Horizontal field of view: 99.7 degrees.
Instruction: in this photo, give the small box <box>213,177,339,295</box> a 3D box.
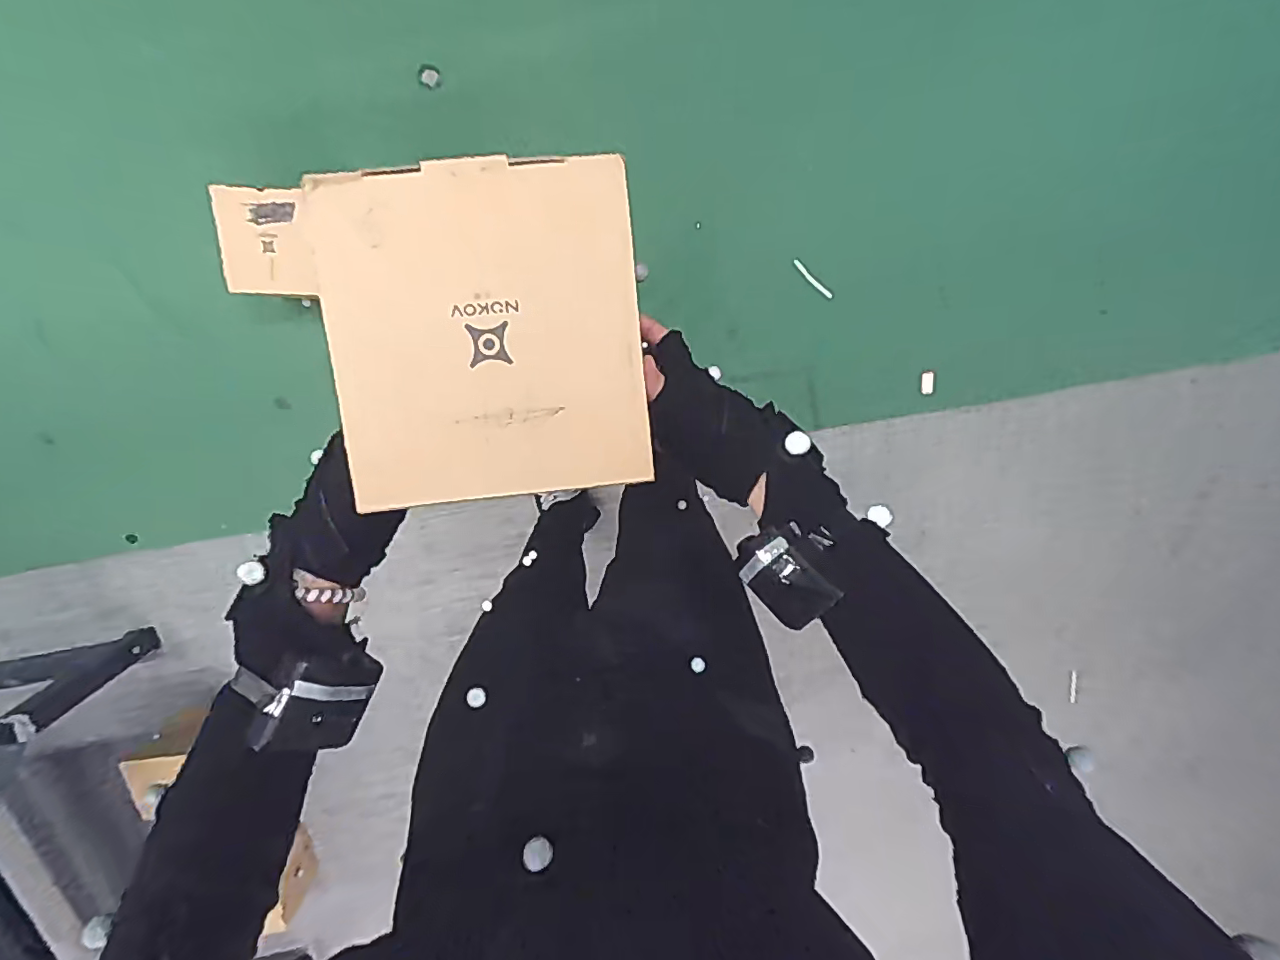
[{"bbox_3d":[-0.647,-0.445,1.013,0.168,0.176,0.179,1,107,-5],"label":"small box"}]
